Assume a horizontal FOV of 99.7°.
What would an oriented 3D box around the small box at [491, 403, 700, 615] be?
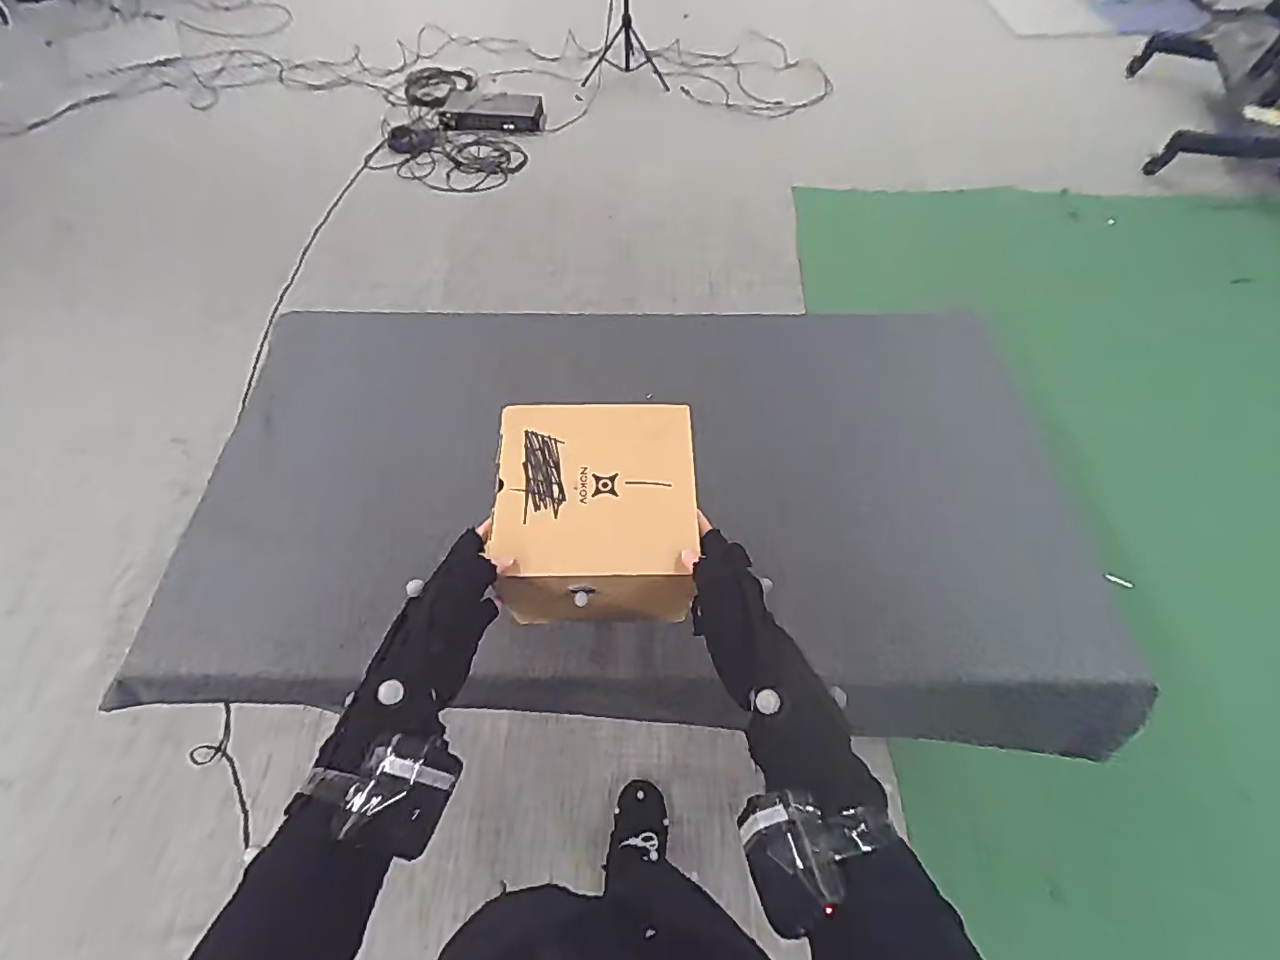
[{"bbox_3d":[-0.038,0.037,0.552,0.179,0.176,0.168,-1,63,-1],"label":"small box"}]
